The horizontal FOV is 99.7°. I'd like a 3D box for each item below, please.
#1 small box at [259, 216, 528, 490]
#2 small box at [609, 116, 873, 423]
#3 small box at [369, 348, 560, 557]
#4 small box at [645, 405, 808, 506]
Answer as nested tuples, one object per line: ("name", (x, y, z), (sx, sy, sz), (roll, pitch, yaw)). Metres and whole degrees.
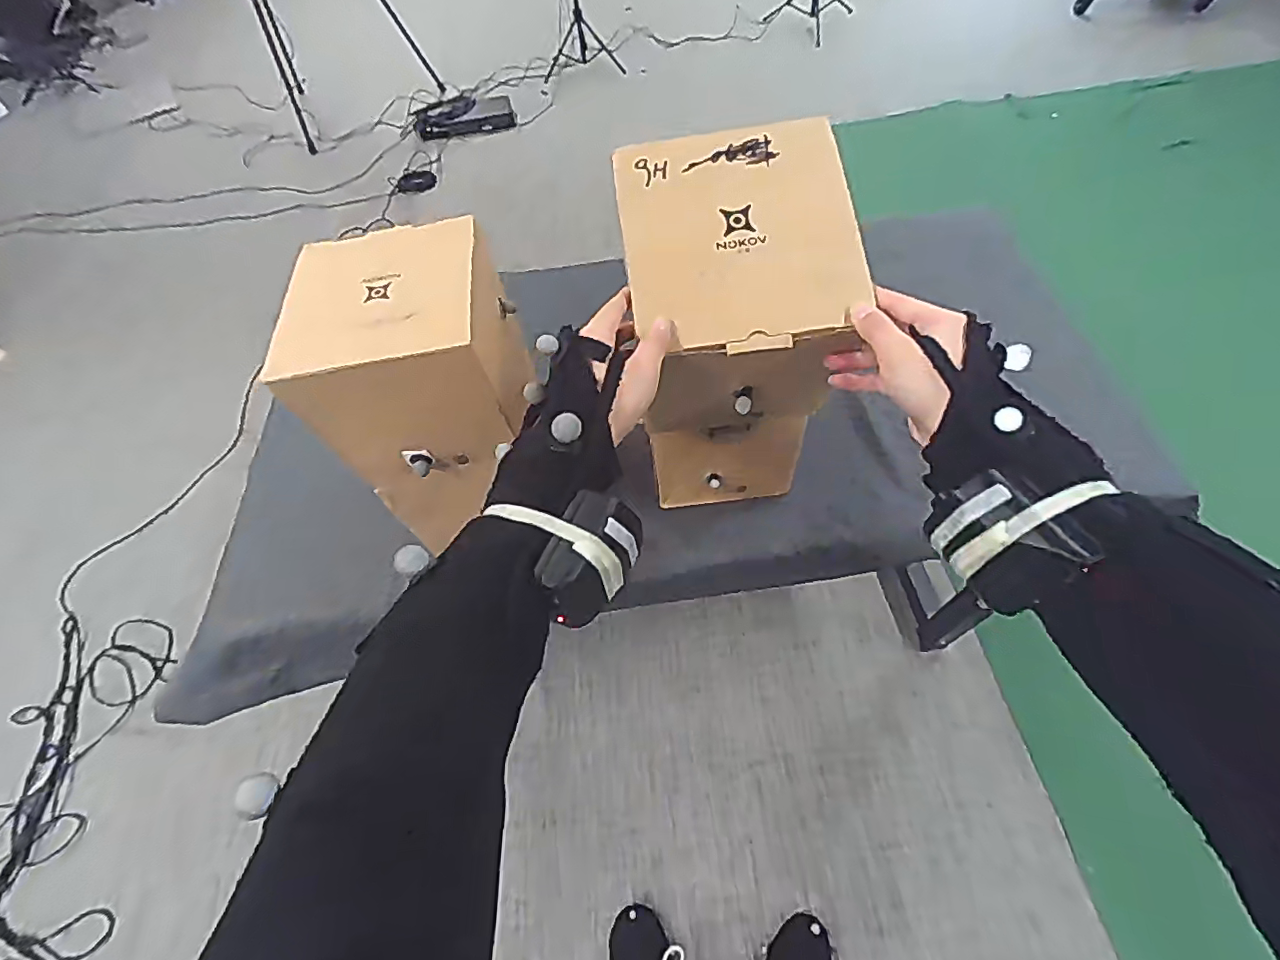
("small box", (-0.211, -0.115, 0.518), (0.168, 0.176, 0.179), (-11, 58, 0))
("small box", (0.072, -0.156, 0.458), (0.168, 0.176, 0.179), (-8, 77, 1))
("small box", (-0.197, -0.029, 0.655), (0.168, 0.176, 0.179), (-10, 58, 0))
("small box", (0.090, -0.089, 0.666), (0.168, 0.176, 0.179), (-7, 58, 1))
